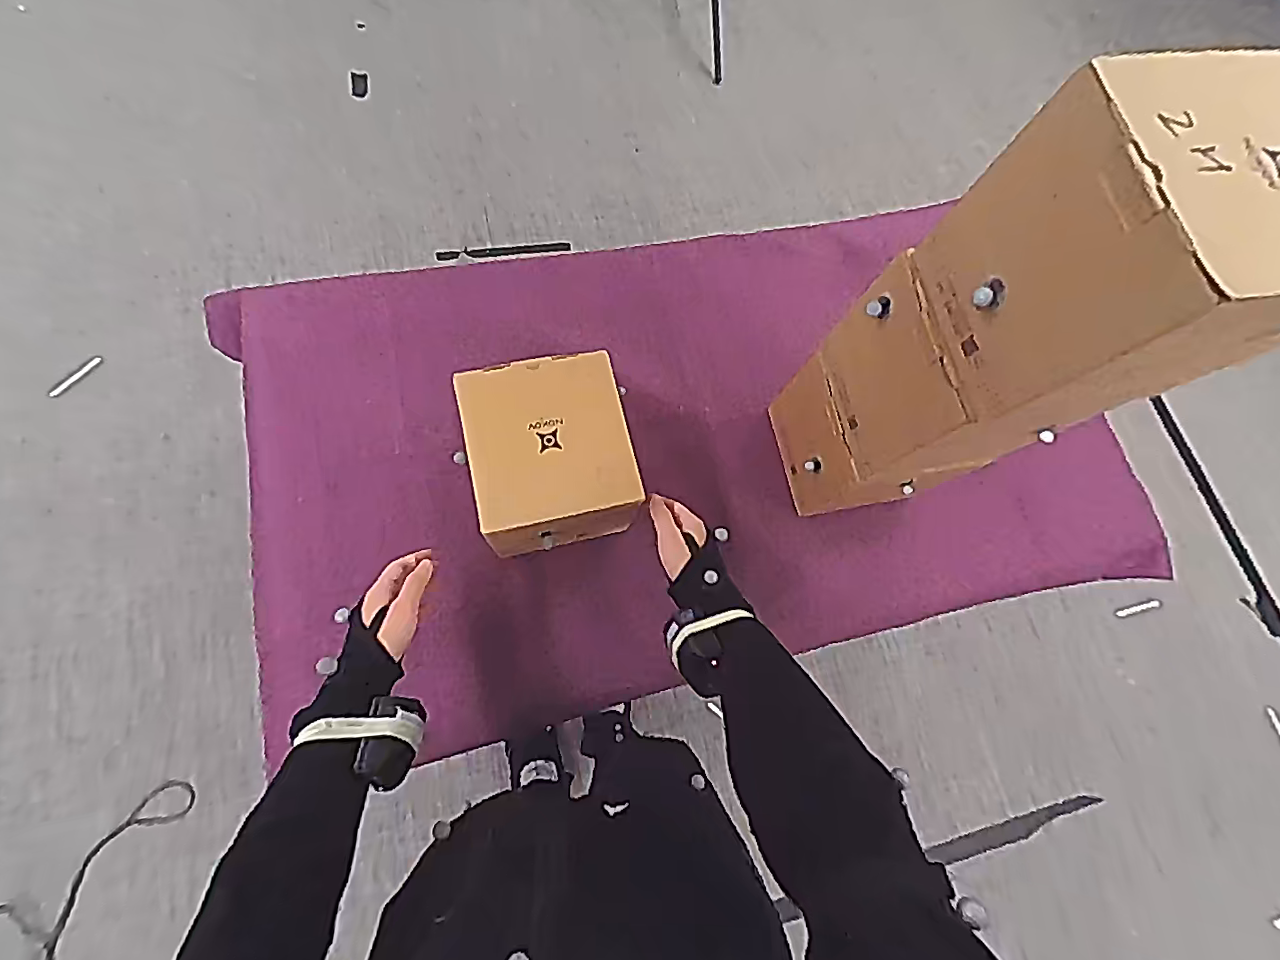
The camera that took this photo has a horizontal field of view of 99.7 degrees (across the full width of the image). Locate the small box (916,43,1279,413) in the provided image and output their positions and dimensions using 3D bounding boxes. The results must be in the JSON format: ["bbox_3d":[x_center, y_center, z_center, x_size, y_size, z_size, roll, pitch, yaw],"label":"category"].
[{"bbox_3d":[0.343,-0.162,0.384,0.179,0.176,0.168,-10,75,-10],"label":"small box"}]

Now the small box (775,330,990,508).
[{"bbox_3d":[0.290,-0.070,0.696,0.179,0.176,0.168,-9,76,-11],"label":"small box"}]

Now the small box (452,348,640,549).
[{"bbox_3d":[-0.105,-0.024,0.630,0.168,0.176,0.179,-13,75,-11],"label":"small box"}]
